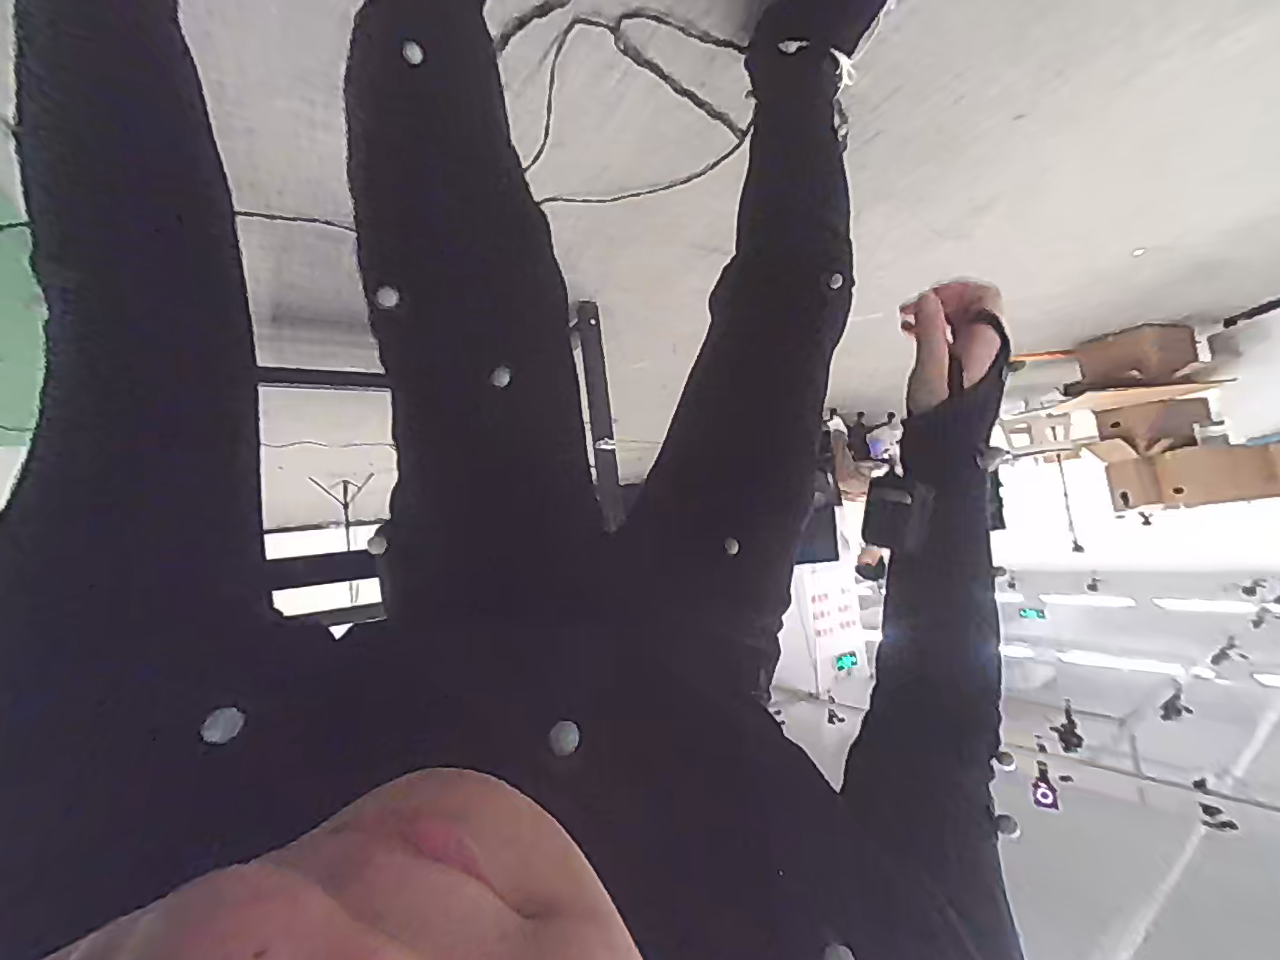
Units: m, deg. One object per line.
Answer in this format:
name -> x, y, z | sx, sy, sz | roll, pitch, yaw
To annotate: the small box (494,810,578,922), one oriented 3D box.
small box -> -0.285, 1.025, 1.456 | 0.179, 0.176, 0.168 | -1, 173, -33
